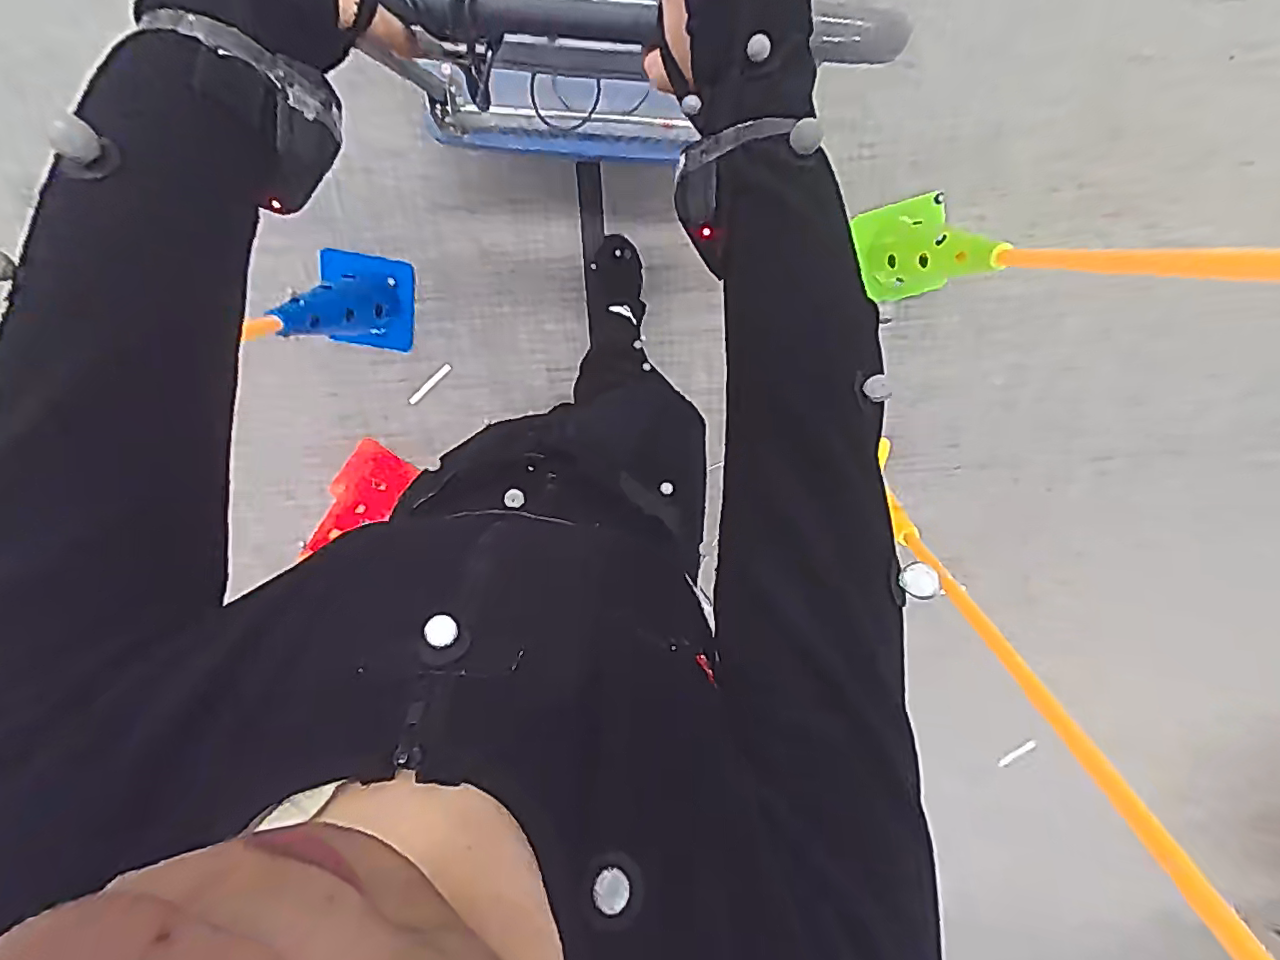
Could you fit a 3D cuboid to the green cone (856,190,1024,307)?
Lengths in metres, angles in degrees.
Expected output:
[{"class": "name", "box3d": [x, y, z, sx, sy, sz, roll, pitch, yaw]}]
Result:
[{"class": "green cone", "box3d": [0.578, -0.426, 1.016, 0.200, 0.368, 0.202, -16, 114, 6]}]

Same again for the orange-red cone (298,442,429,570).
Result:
[{"class": "orange-red cone", "box3d": [-0.653, 0.088, 1.208, 0.198, 0.360, 0.199, 39, 106, -17]}]

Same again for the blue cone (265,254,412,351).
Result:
[{"class": "blue cone", "box3d": [-0.598, -0.322, 1.047, 0.193, 0.380, 0.192, 11, 114, -6]}]
